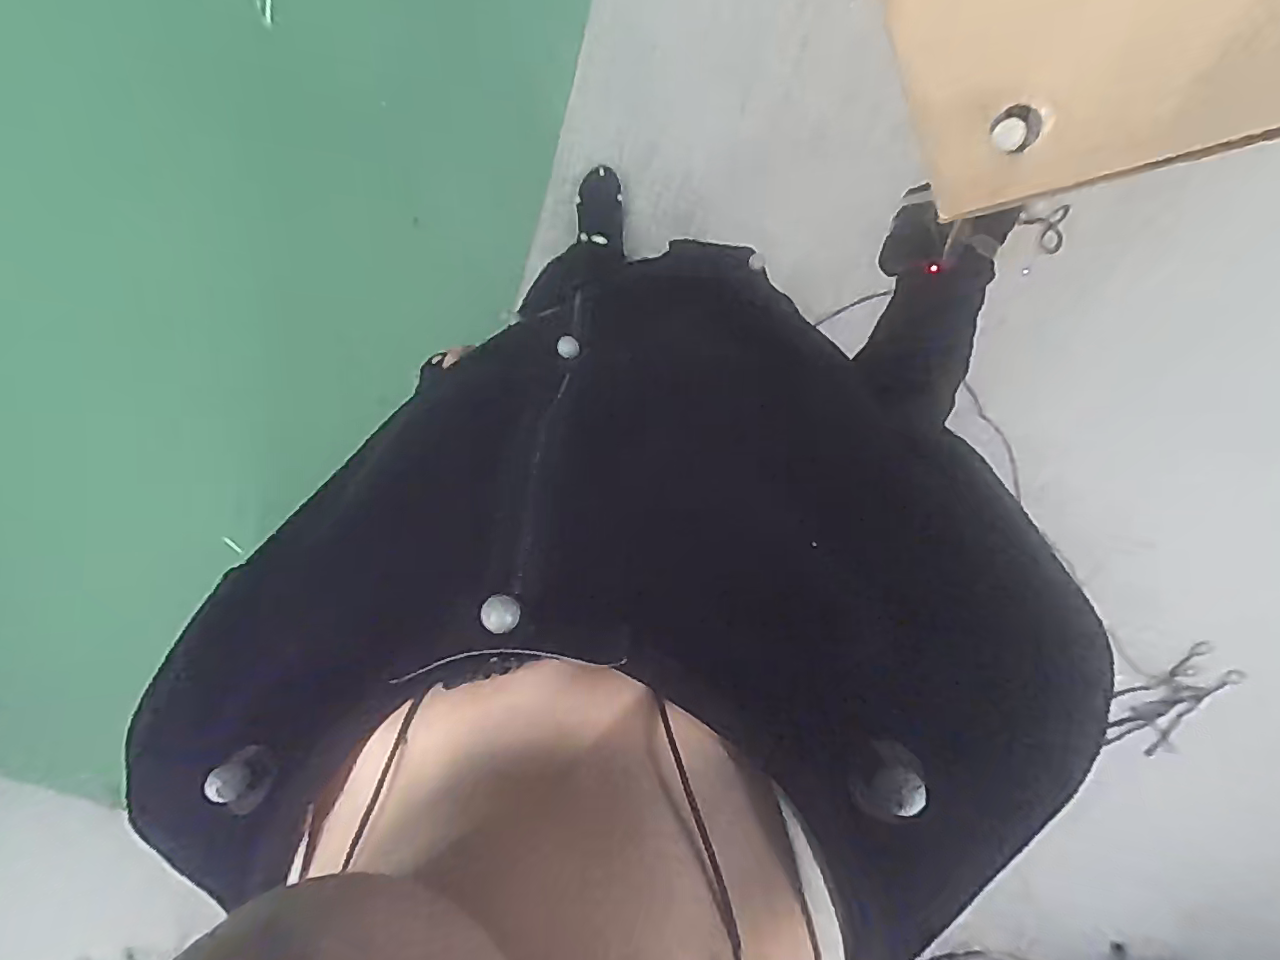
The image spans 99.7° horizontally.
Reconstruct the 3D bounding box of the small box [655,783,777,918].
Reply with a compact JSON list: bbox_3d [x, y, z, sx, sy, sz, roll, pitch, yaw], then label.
[{"bbox_3d":[0.140,0.731,1.045,0.168,0.176,0.179,21,116,-8],"label":"small box"}]

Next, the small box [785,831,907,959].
[{"bbox_3d":[0.399,0.832,1.079,0.179,0.176,0.168,-2,116,4],"label":"small box"}]

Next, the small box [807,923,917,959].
[{"bbox_3d":[0.398,0.893,0.925,0.179,0.176,0.168,-12,115,10],"label":"small box"}]

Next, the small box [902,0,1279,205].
[{"bbox_3d":[0.233,-0.266,0.242,0.168,0.179,0.176,-54,125,-22],"label":"small box"}]
